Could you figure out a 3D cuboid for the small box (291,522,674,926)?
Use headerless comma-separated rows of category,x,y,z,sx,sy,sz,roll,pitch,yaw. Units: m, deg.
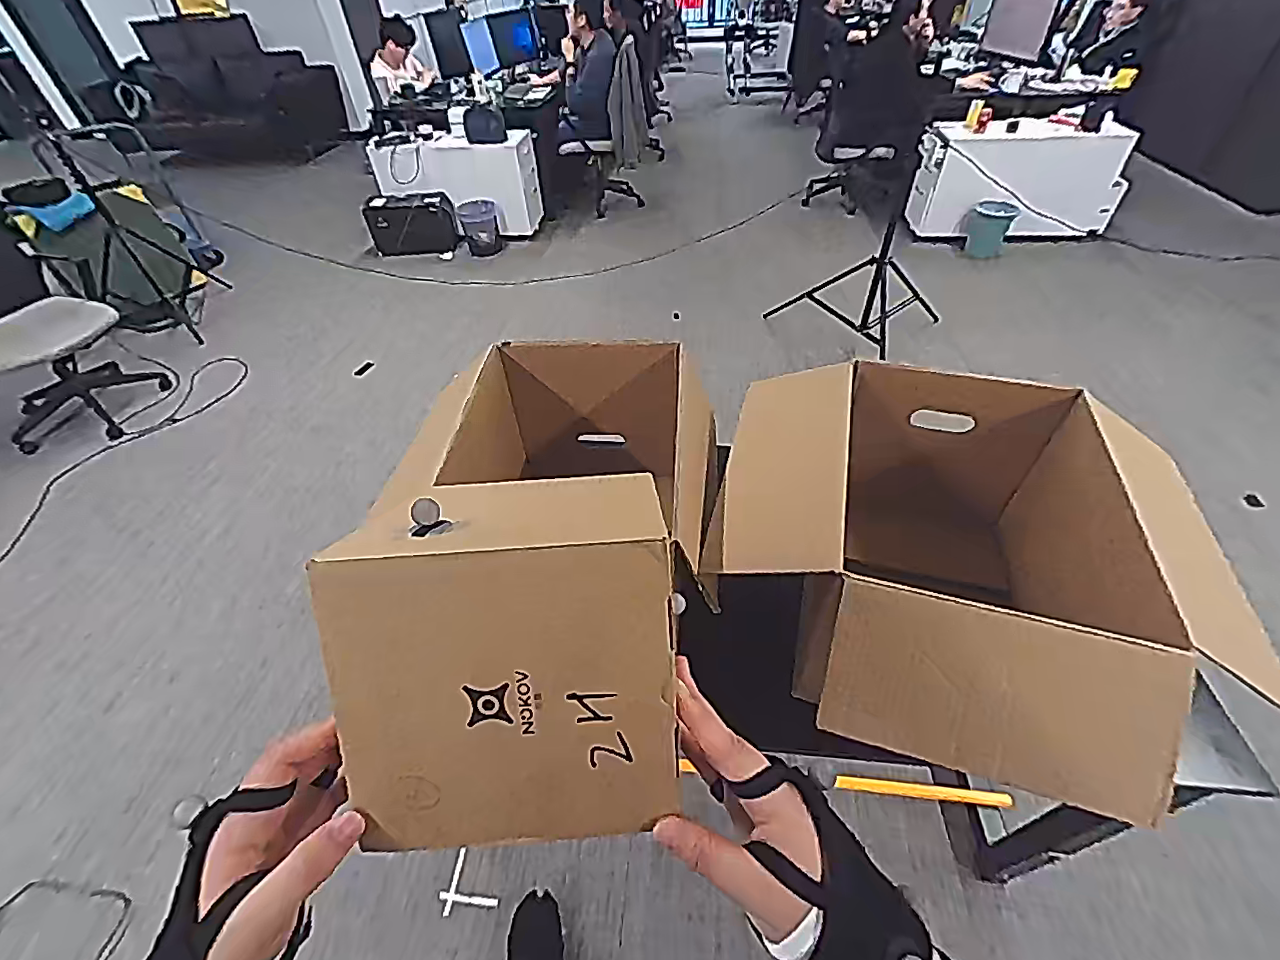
small box,-0.073,0.129,0.342,0.179,0.168,0.176,-3,12,-1
